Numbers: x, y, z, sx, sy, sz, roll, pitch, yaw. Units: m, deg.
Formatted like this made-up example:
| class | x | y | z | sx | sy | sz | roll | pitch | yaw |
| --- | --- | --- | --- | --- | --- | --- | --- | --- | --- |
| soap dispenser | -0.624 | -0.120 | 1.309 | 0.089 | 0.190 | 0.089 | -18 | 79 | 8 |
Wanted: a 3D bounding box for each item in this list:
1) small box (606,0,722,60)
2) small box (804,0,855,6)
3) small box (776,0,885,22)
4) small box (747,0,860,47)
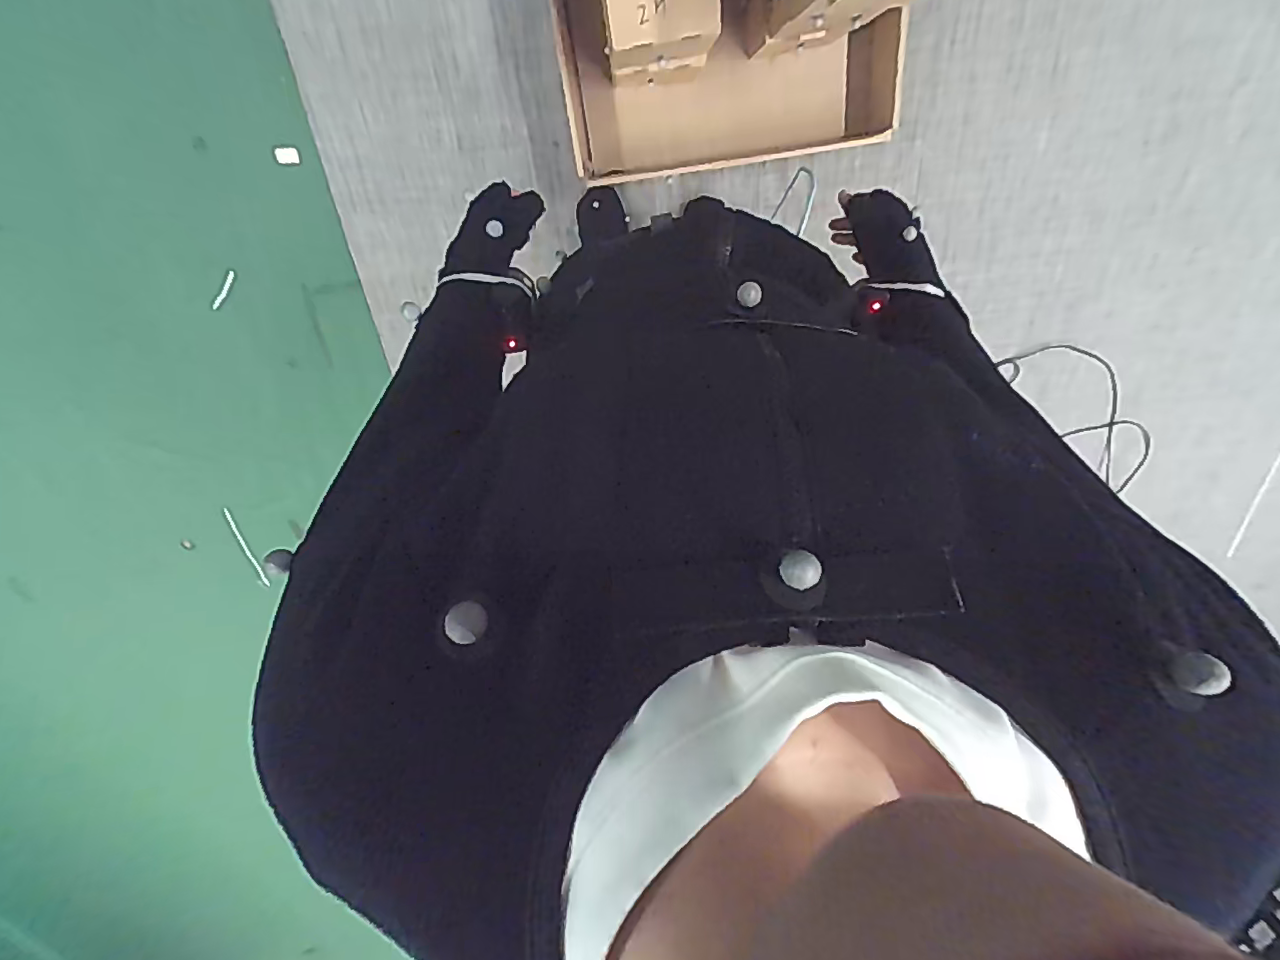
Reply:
| class | x | y | z | sx | sy | sz | roll | pitch | yaw |
| --- | --- | --- | --- | --- | --- | --- | --- | --- | --- |
| small box | 0.027 | -0.774 | 0.823 | 0.168 | 0.176 | 0.179 | -8 | 120 | 3 |
| small box | 0.296 | -0.720 | 0.670 | 0.168 | 0.176 | 0.179 | -6 | 121 | 3 |
| small box | 0.296 | -0.802 | 0.792 | 0.168 | 0.176 | 0.179 | -6 | 120 | 4 |
| small box | 0.283 | -0.892 | 0.950 | 0.168 | 0.176 | 0.179 | -9 | 120 | 7 |
